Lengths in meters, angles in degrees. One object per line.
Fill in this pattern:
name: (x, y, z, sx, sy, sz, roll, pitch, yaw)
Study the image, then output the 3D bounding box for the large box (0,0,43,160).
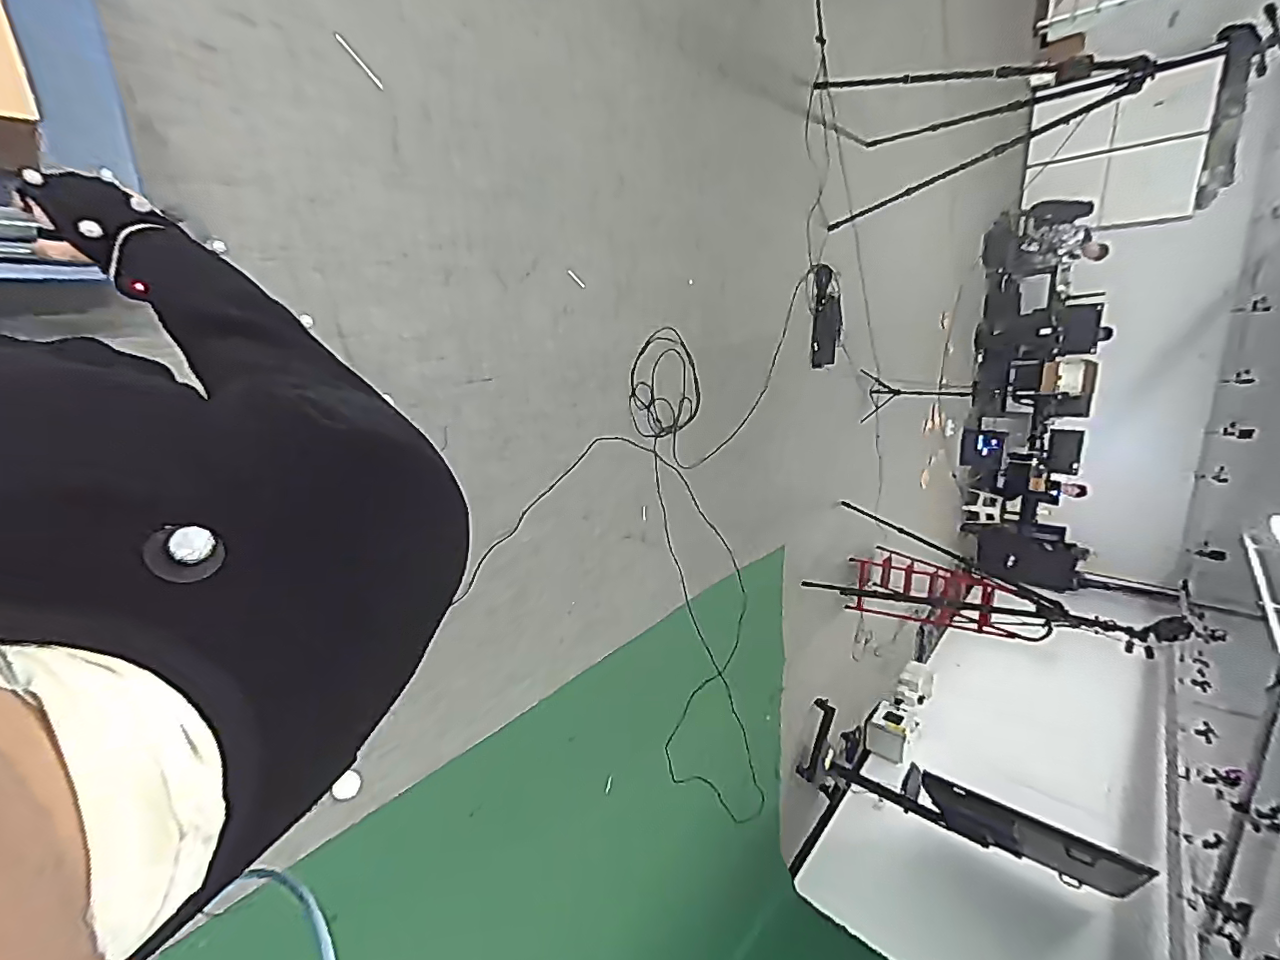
large box: (-1.078, -0.689, 0.703, 0.320, 0.320, 0.408, -21, 114, -43)
